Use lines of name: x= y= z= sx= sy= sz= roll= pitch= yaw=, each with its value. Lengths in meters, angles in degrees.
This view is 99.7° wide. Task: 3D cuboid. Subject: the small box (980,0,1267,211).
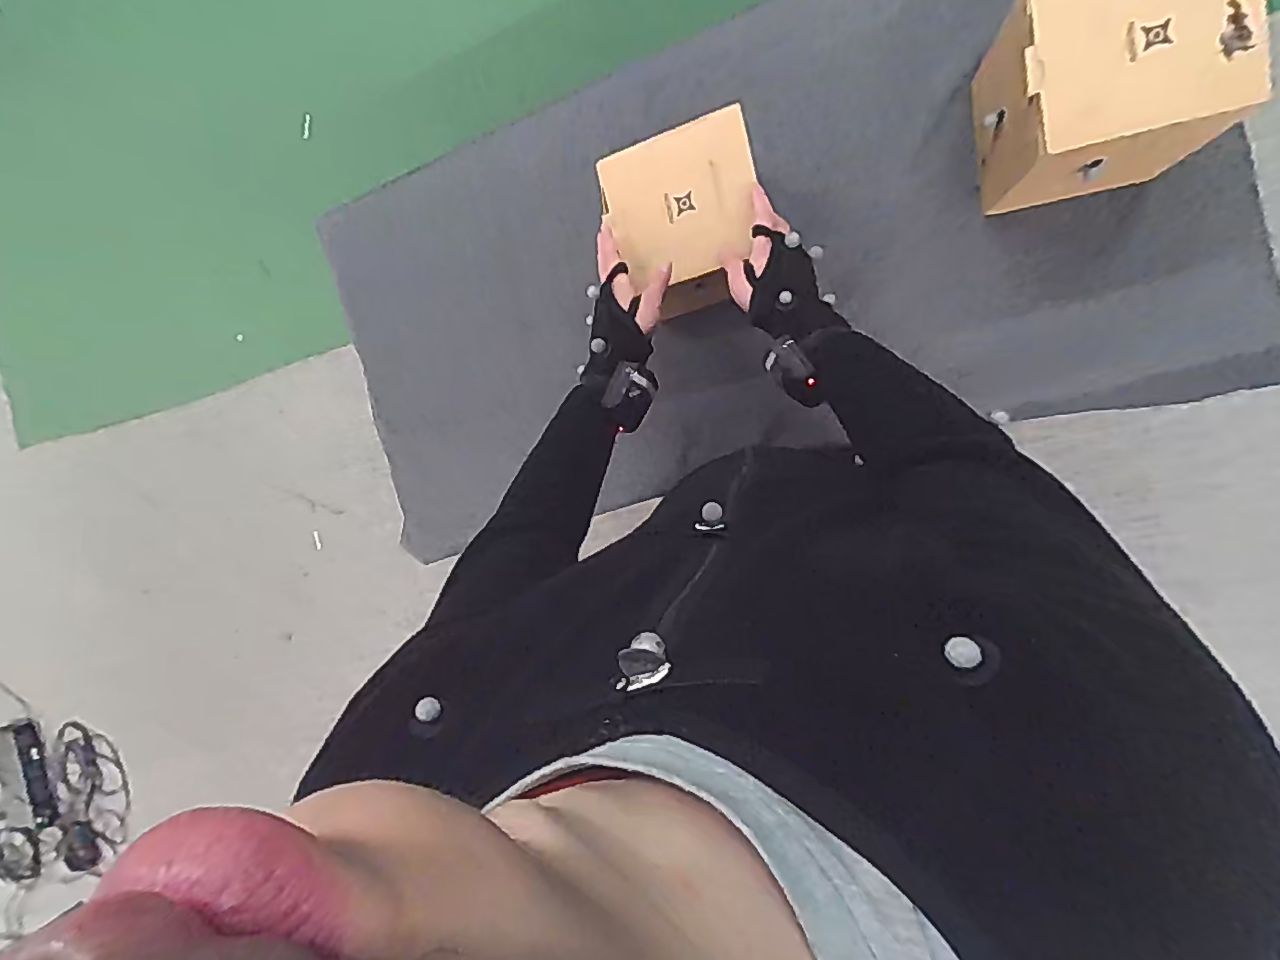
small box: x=0.478 y=-0.408 z=0.568 sx=0.179 sy=0.176 sz=0.168 roll=-6 pitch=95 yaw=16

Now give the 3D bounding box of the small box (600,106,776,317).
small box: x=0.072 y=-0.323 z=0.696 sx=0.179 sy=0.176 sz=0.168 roll=-14 pitch=94 yaw=15
